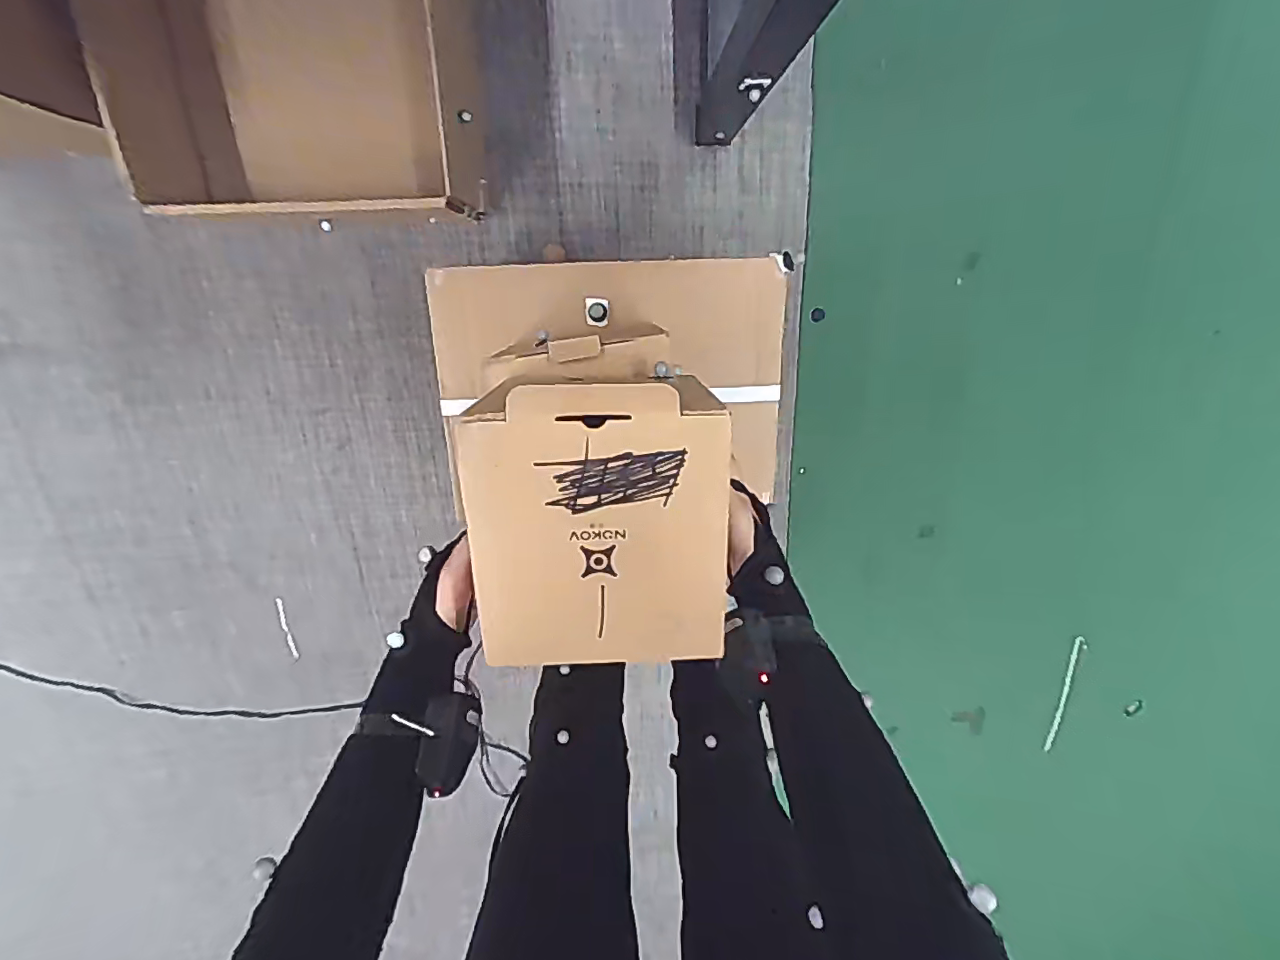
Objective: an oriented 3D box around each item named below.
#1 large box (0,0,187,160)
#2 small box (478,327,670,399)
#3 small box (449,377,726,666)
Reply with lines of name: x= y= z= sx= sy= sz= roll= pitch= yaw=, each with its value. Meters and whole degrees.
large box: x=-0.821 y=-0.613 z=0.595 sx=0.320 sy=0.320 sz=0.408 roll=-3 pitch=110 yaw=-2
small box: x=-0.054 y=-0.061 z=0.563 sx=0.168 sy=0.176 sz=0.179 roll=-8 pitch=109 yaw=0
small box: x=-0.034 y=0.016 z=0.416 sx=0.168 sy=0.176 sz=0.179 roll=-1 pitch=109 yaw=-2
